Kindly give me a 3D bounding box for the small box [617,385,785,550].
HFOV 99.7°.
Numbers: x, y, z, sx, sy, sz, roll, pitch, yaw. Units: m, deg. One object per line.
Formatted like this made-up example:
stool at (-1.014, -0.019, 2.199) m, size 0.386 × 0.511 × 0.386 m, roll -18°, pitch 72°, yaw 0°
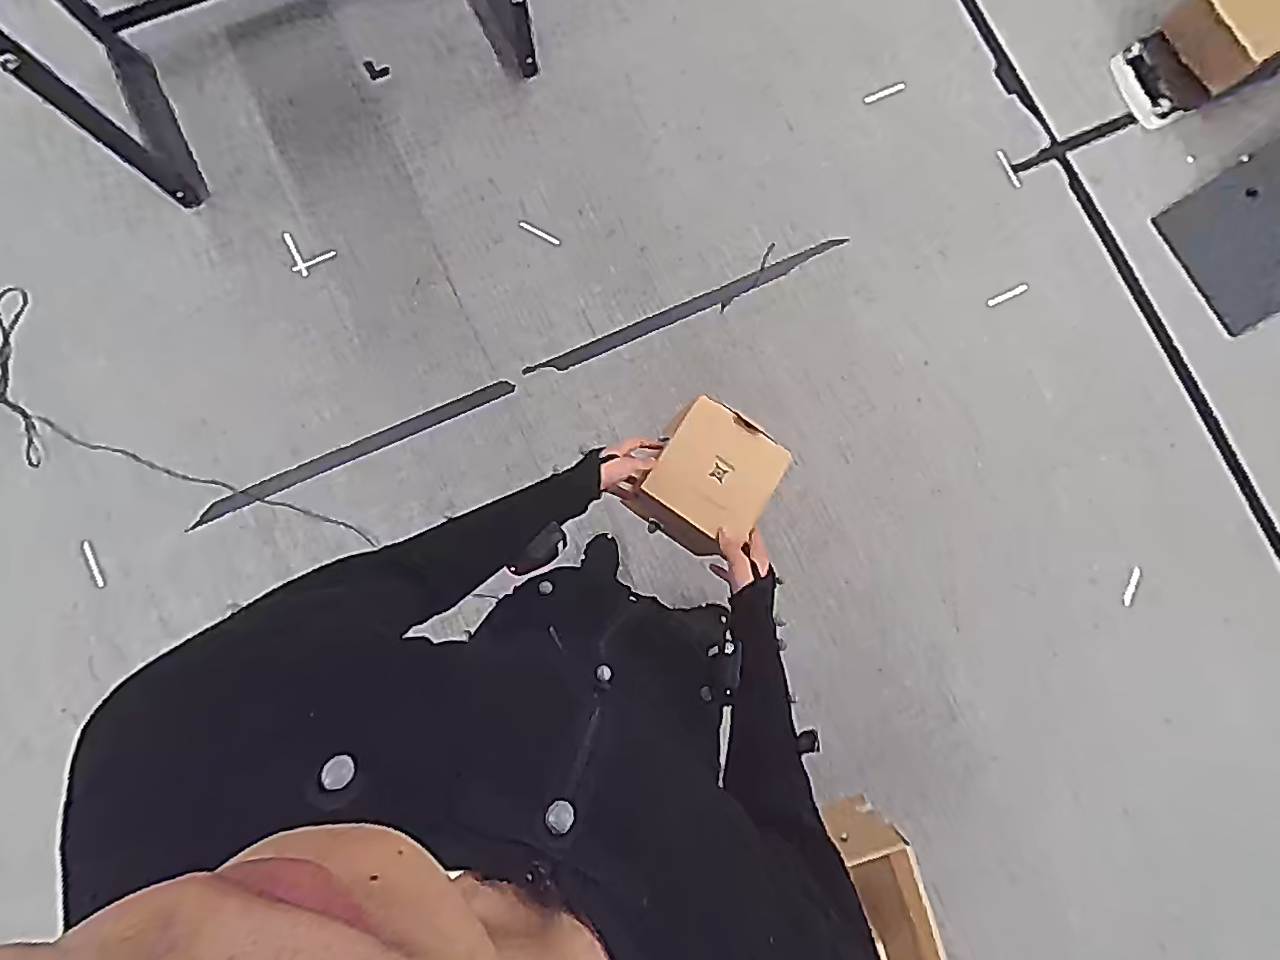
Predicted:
small box at (0.083, -0.009, 0.830) m, size 0.168 × 0.176 × 0.179 m, roll 34°, pitch 74°, yaw -6°
